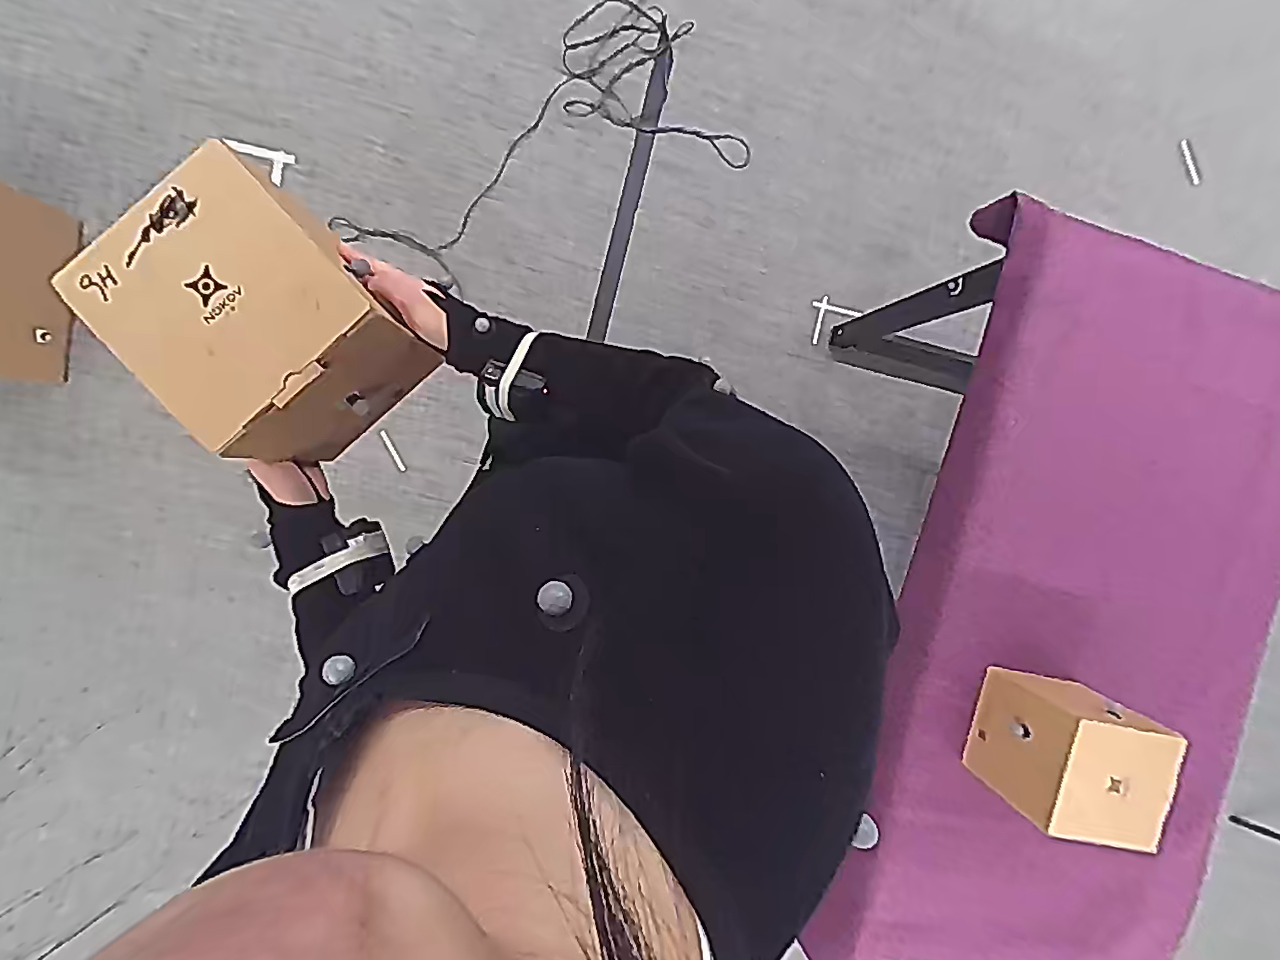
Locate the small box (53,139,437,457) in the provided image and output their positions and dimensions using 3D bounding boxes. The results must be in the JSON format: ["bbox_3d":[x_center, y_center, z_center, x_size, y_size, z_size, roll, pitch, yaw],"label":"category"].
[{"bbox_3d":[-0.314,-0.137,0.479,0.168,0.176,0.179,-43,92,-2],"label":"small box"}]

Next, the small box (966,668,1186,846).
[{"bbox_3d":[0.633,0.400,0.808,0.179,0.176,0.168,13,93,-9],"label":"small box"}]
